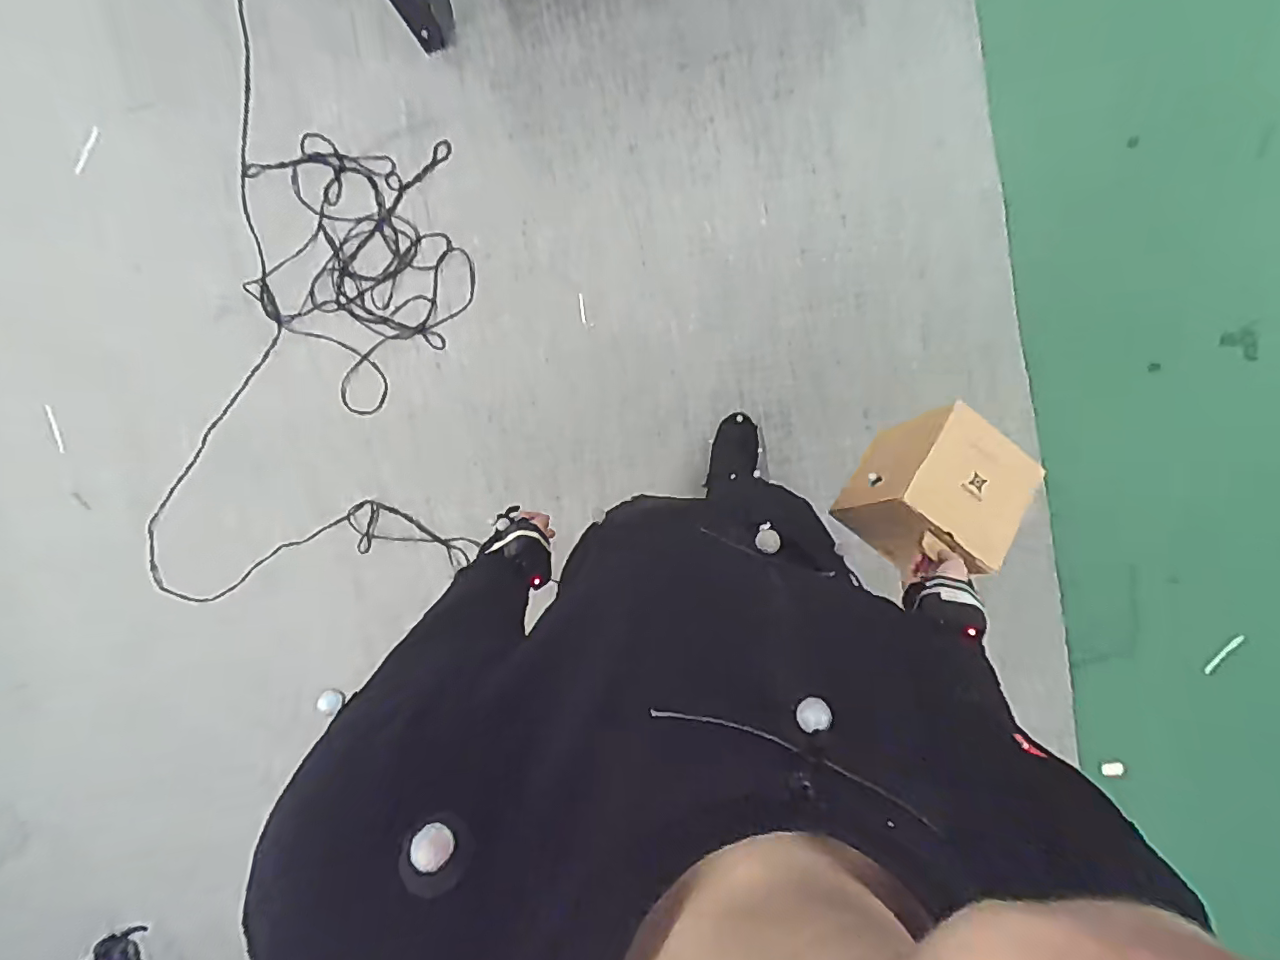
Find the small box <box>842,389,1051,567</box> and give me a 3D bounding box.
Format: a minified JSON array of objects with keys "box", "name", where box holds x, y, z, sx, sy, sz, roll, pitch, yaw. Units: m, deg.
[{"box":[0.420,0.008,0.769,0.168,0.176,0.179,37,74,-7],"name":"small box"}]
